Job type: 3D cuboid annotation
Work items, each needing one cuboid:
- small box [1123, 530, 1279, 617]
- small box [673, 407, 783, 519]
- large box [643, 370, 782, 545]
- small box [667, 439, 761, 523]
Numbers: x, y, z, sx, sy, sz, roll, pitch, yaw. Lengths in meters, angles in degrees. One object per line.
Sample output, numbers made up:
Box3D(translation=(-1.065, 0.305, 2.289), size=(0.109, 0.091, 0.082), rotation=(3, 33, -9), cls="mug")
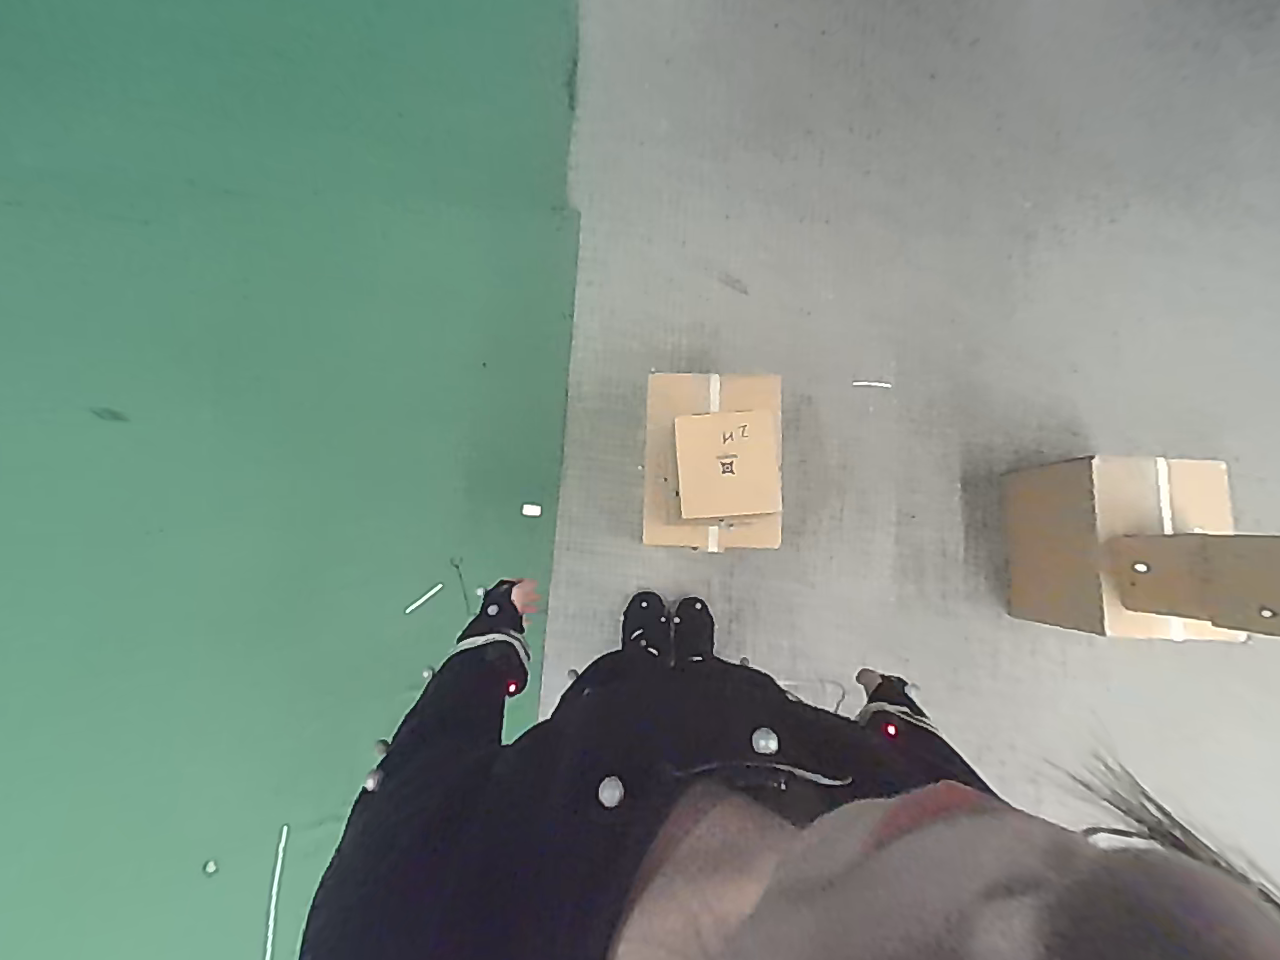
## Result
Box3D(translation=(1.157, 0.186, 1.113), size=(0.179, 0.176, 0.168), rotation=(0, 84, 1), cls="small box")
Box3D(translation=(0.148, -0.022, 0.965), size=(0.168, 0.176, 0.179), rotation=(-4, 82, -1), cls="small box")
Box3D(translation=(0.168, -0.038, 1.378), size=(0.320, 0.320, 0.408), rotation=(2, 83, 0), cls="large box")
Box3D(translation=(0.149, 0.003, 1.127), size=(0.179, 0.176, 0.168), rotation=(0, 83, 1), cls="small box")
